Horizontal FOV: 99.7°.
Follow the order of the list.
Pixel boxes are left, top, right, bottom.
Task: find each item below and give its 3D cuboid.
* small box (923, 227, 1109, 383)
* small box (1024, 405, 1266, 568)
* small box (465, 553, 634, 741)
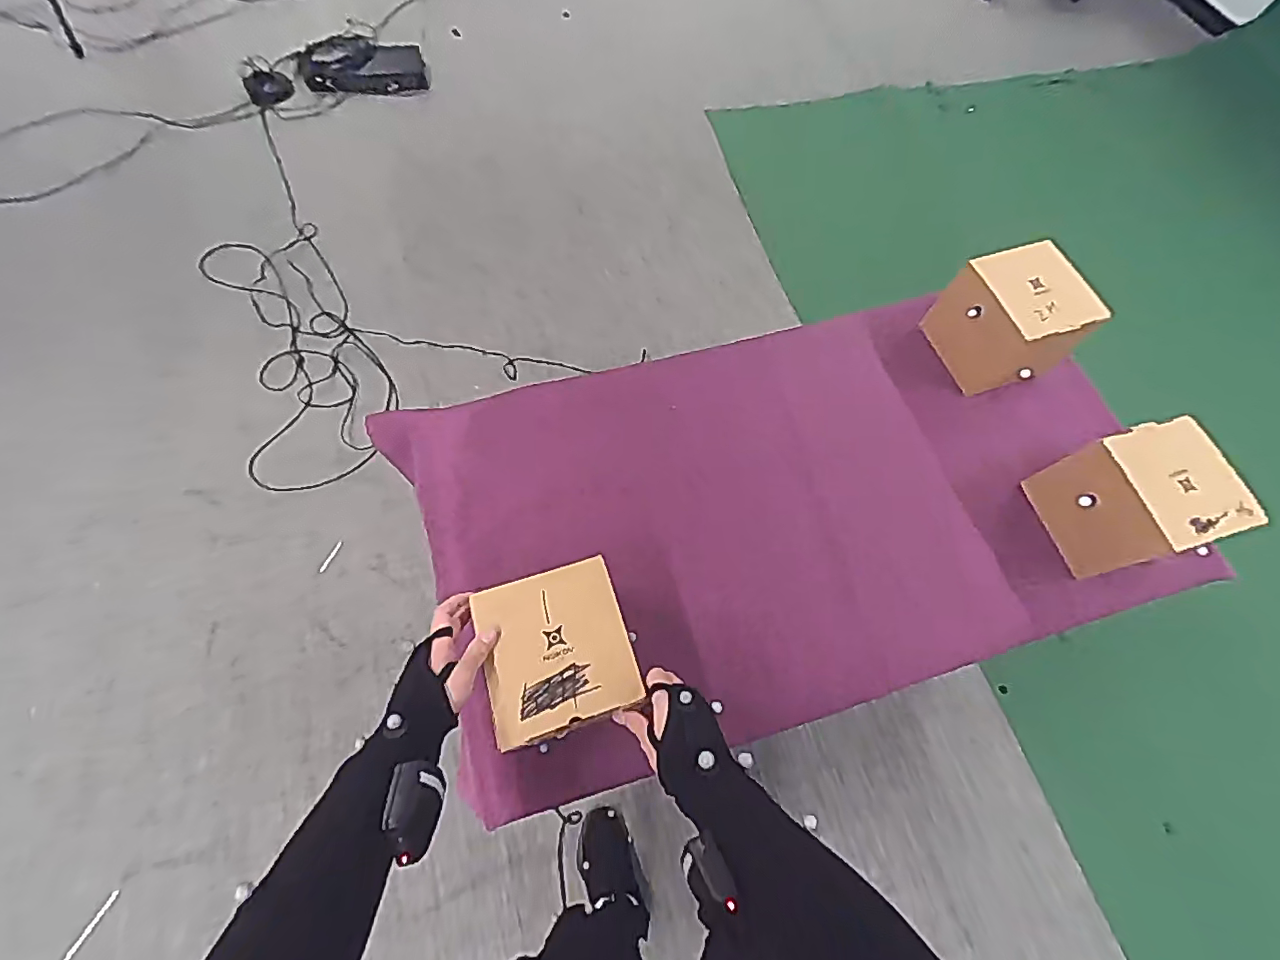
[{"bbox_3d":[0.639,-0.300,0.948,0.168,0.176,0.179,-17,70,-7],"label":"small box"},{"bbox_3d":[0.743,0.016,0.823,0.168,0.176,0.179,-14,69,-7],"label":"small box"},{"bbox_3d":[-0.109,0.217,0.699,0.168,0.176,0.179,-16,67,-9],"label":"small box"}]
